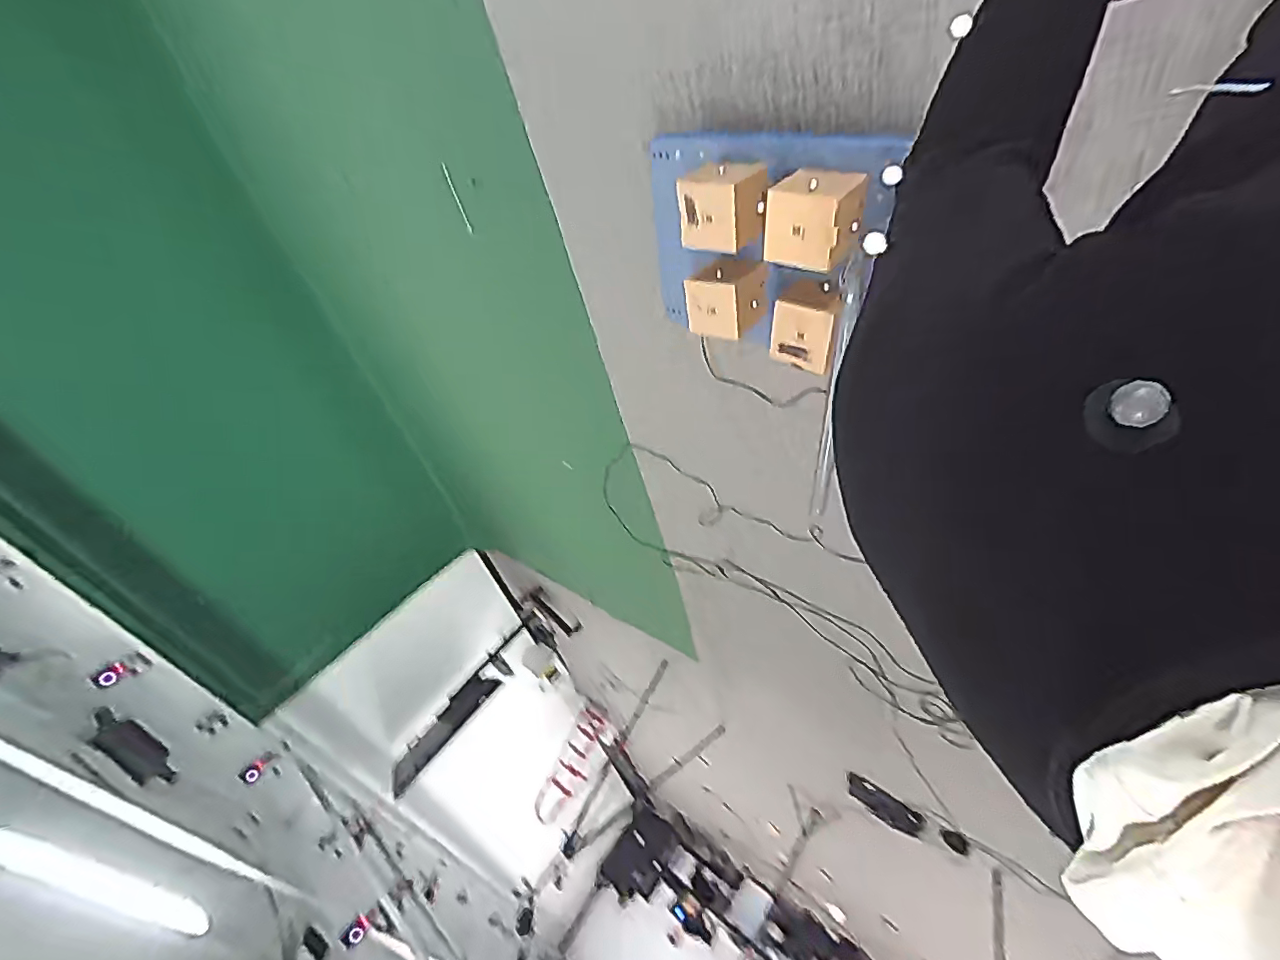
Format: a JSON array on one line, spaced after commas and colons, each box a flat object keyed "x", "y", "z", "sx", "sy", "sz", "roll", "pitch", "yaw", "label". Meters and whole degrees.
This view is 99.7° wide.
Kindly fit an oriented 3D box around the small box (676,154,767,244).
[{"x": 0.218, "y": -0.748, "z": 1.430, "sx": 0.179, "sy": 0.176, "sz": 0.168, "roll": 22, "pitch": 143, "yaw": 31, "label": "small box"}]

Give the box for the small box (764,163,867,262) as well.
[{"x": 0.421, "y": -0.652, "z": 1.308, "sx": 0.179, "sy": 0.176, "sz": 0.168, "roll": 24, "pitch": 143, "yaw": 29, "label": "small box"}]

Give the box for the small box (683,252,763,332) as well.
[{"x": 0.254, "y": -0.562, "z": 1.605, "sx": 0.179, "sy": 0.176, "sz": 0.168, "roll": 22, "pitch": 141, "yaw": 33, "label": "small box"}]
